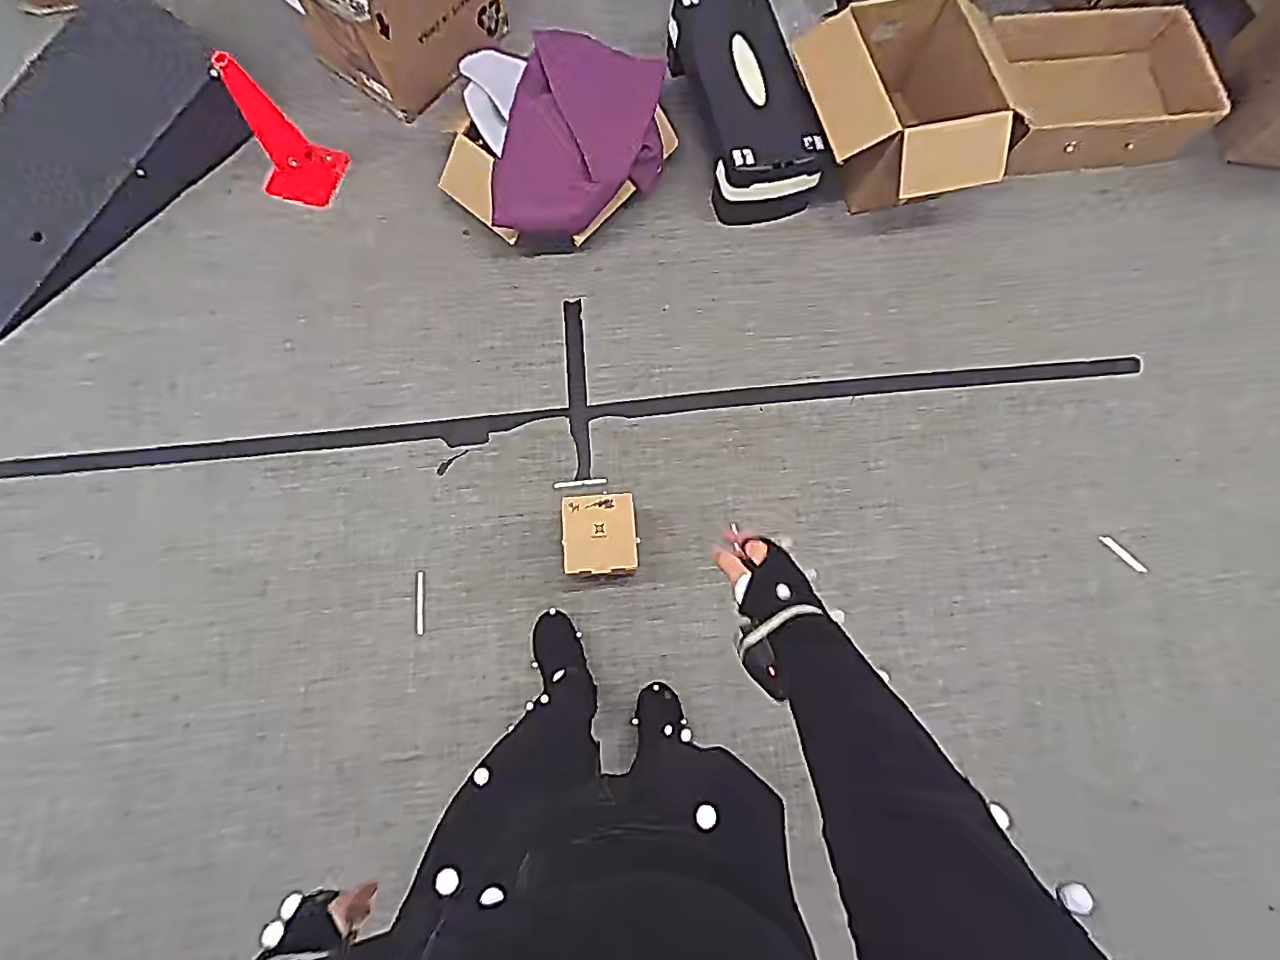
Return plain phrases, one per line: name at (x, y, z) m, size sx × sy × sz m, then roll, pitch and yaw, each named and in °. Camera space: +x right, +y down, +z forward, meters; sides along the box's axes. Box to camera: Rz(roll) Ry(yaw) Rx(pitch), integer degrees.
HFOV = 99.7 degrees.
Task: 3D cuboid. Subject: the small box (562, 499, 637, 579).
small box at (-0.093, 0.147, 1.300) m, size 0.168 × 0.176 × 0.179 m, roll -4°, pitch 77°, yaw -2°
